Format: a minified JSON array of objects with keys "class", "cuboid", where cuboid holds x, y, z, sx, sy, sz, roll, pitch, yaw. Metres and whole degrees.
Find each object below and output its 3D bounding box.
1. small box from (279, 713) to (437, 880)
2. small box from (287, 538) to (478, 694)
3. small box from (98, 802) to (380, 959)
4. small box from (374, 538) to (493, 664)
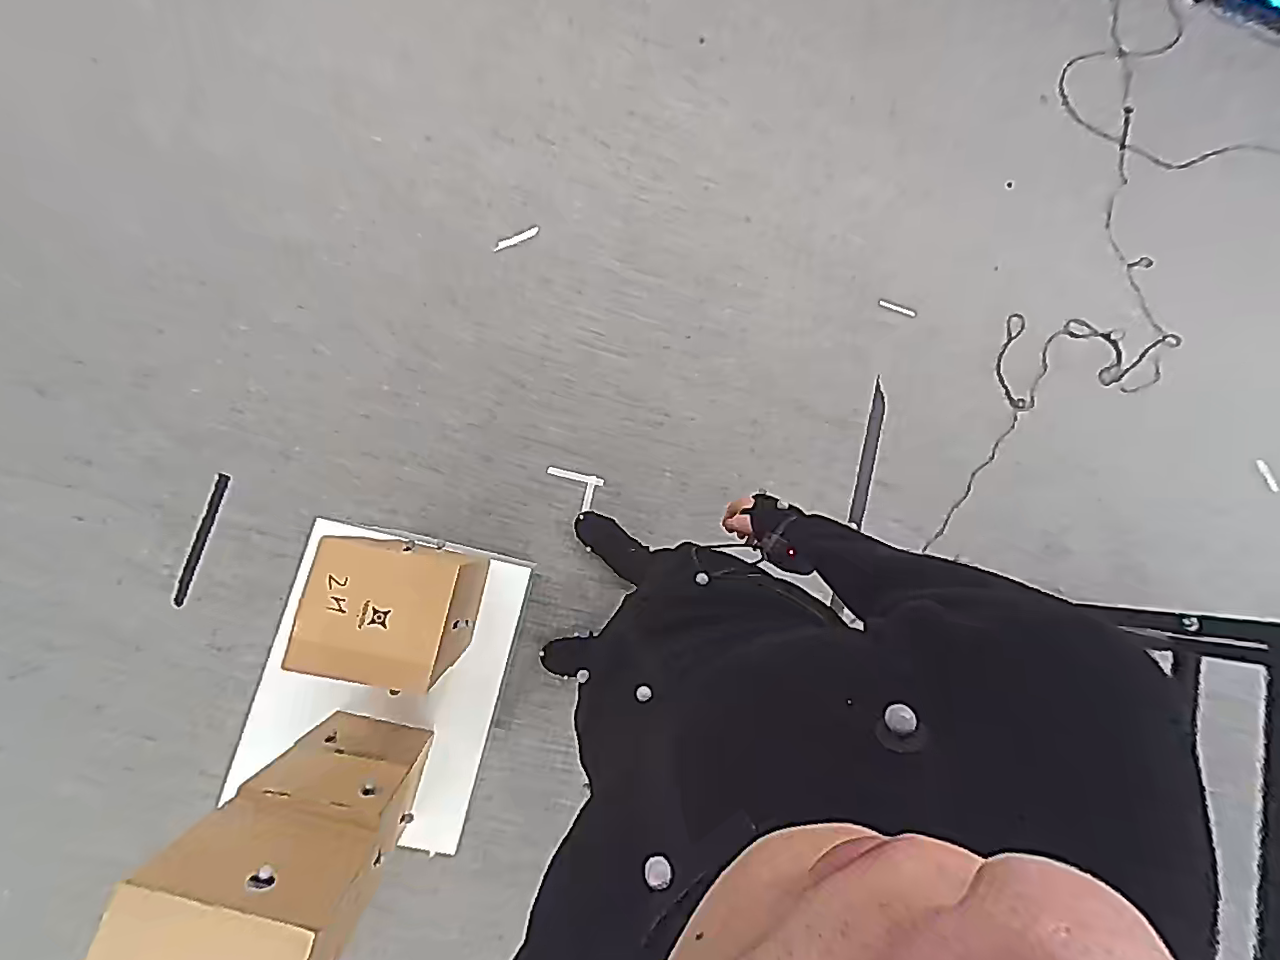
[{"class":"small box","cuboid":[-0.445,0.490,0.862,0.179,0.176,0.168,15,80,-6]},{"class":"small box","cuboid":[-0.336,0.177,0.749,0.179,0.176,0.168,13,81,-7]},{"class":"small box","cuboid":[-0.392,0.456,0.539,0.179,0.176,0.168,18,80,-5]},{"class":"small box","cuboid":[-0.361,0.197,0.911,0.179,0.176,0.168,13,82,-7]}]
